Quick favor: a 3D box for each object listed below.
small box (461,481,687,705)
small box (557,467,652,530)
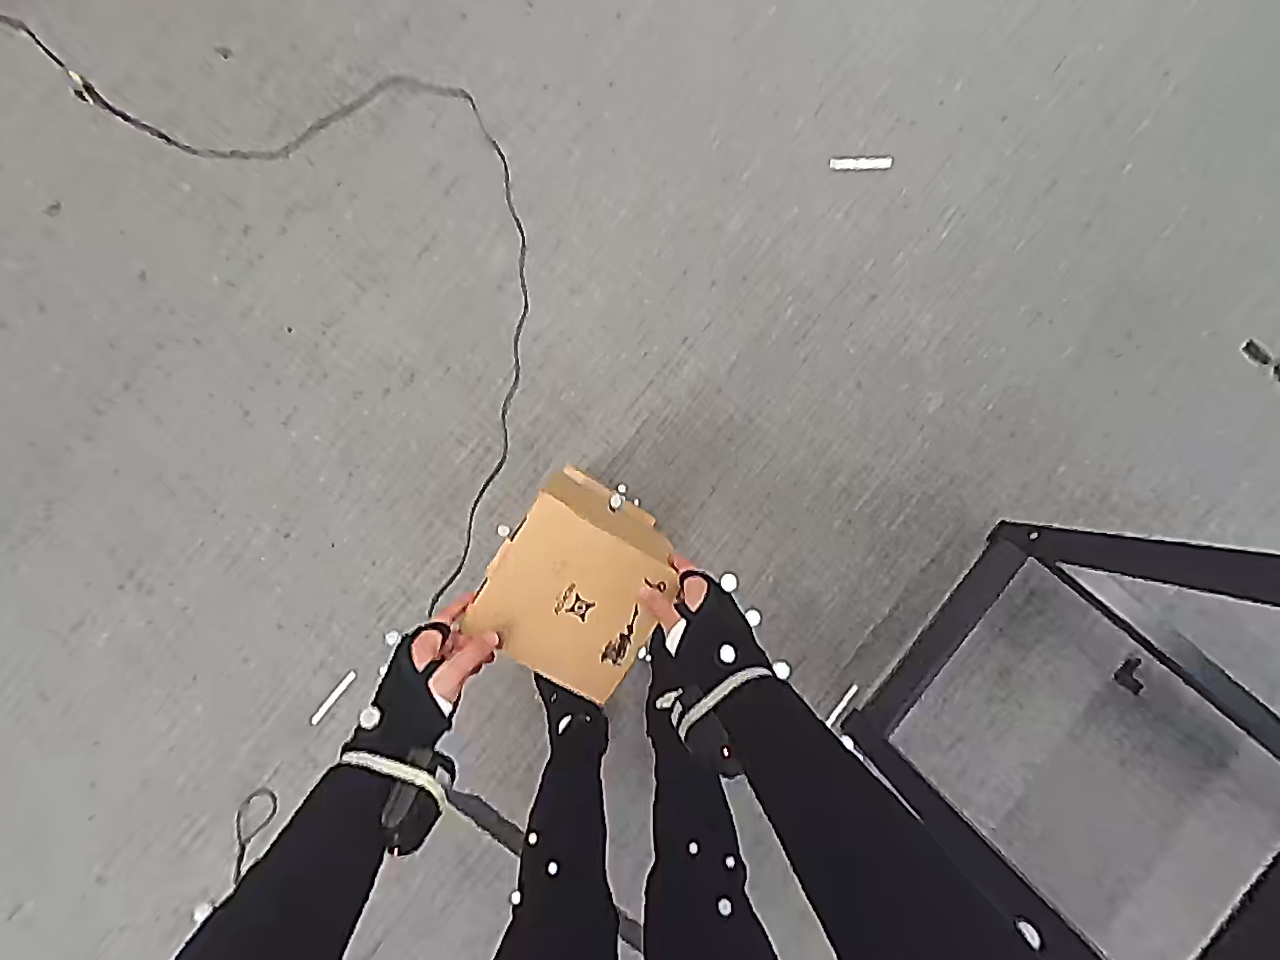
[{"bbox_3d":[-0.072,0.114,0.627,0.179,0.176,0.168,32,94,-8],"label":"small box"},{"bbox_3d":[-0.095,0.096,0.924,0.168,0.176,0.179,31,87,-3],"label":"small box"}]
